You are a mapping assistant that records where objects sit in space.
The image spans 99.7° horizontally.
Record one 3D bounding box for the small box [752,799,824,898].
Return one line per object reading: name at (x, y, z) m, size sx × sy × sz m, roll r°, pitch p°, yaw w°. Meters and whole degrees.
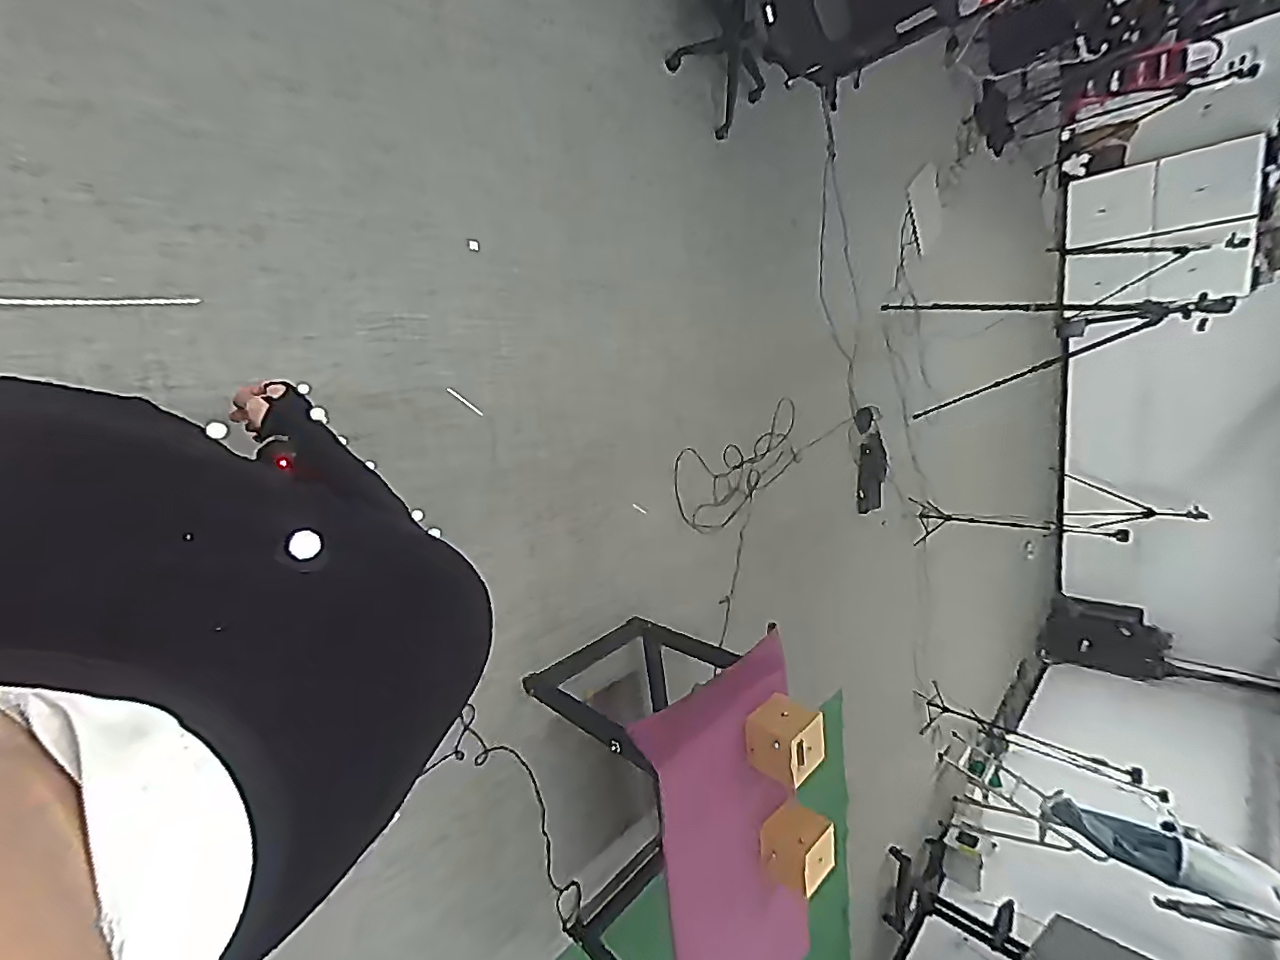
small box at (0.488, 1.206, 1.786) m, size 0.179 × 0.176 × 0.168 m, roll -13°, pitch 104°, yaw -39°
